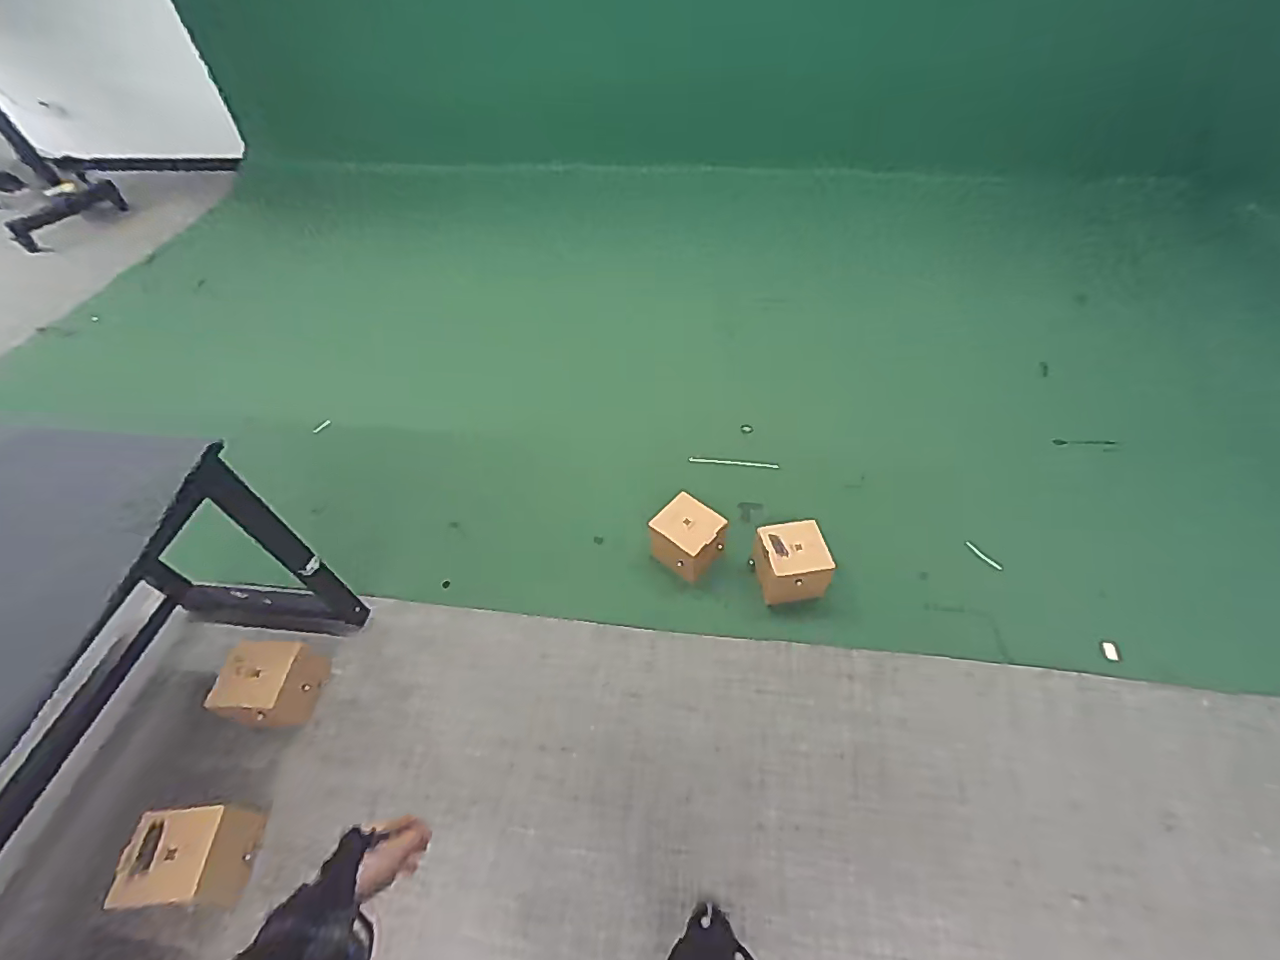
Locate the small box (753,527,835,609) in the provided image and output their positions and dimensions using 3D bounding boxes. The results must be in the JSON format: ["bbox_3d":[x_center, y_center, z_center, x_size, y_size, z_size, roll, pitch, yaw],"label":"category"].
[{"bbox_3d":[0.435,0.260,1.567,0.179,0.176,0.168,-7,51,-5],"label":"small box"}]

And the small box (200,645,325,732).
[{"bbox_3d":[-0.958,0.540,1.395,0.179,0.176,0.168,1,50,3],"label":"small box"}]

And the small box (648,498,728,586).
[{"bbox_3d":[0.142,0.195,1.633,0.179,0.176,0.168,33,58,27],"label":"small box"}]
